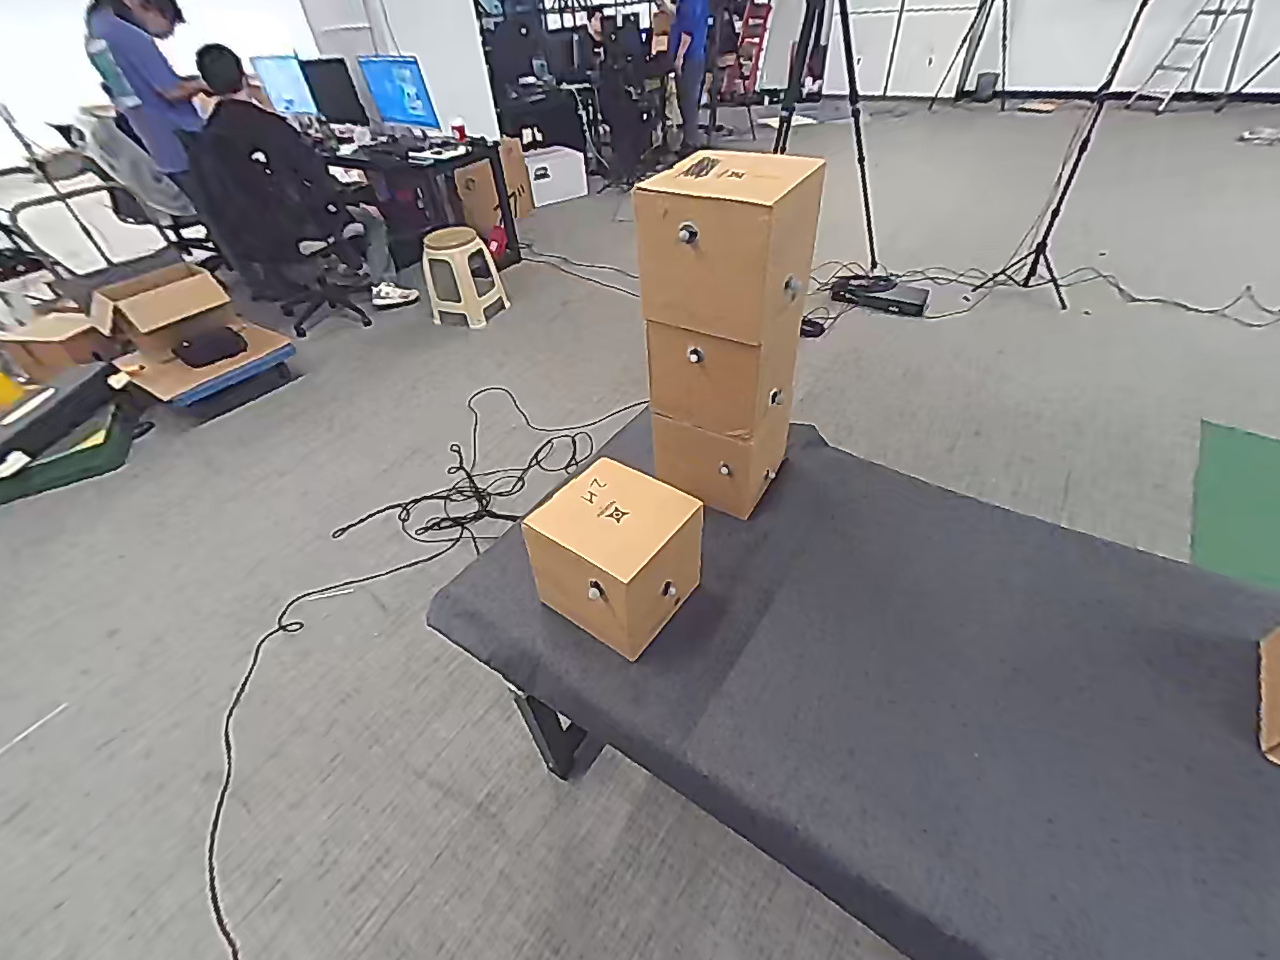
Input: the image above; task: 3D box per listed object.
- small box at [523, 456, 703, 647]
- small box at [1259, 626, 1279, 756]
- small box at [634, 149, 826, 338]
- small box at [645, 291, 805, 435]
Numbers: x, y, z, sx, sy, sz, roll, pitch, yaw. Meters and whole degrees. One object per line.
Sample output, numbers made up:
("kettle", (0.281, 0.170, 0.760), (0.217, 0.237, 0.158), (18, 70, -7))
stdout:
("small box", (-0.031, 0.101, 0.747), (0.179, 0.176, 0.168), (25, 48, 28))
("small box", (0.786, 0.217, 0.542), (0.168, 0.176, 0.179), (25, 52, 29))
("small box", (0.112, -0.303, 0.691), (0.179, 0.176, 0.168), (22, 52, 25))
("small box", (0.126, -0.191, 0.812), (0.179, 0.176, 0.168), (21, 51, 24))
